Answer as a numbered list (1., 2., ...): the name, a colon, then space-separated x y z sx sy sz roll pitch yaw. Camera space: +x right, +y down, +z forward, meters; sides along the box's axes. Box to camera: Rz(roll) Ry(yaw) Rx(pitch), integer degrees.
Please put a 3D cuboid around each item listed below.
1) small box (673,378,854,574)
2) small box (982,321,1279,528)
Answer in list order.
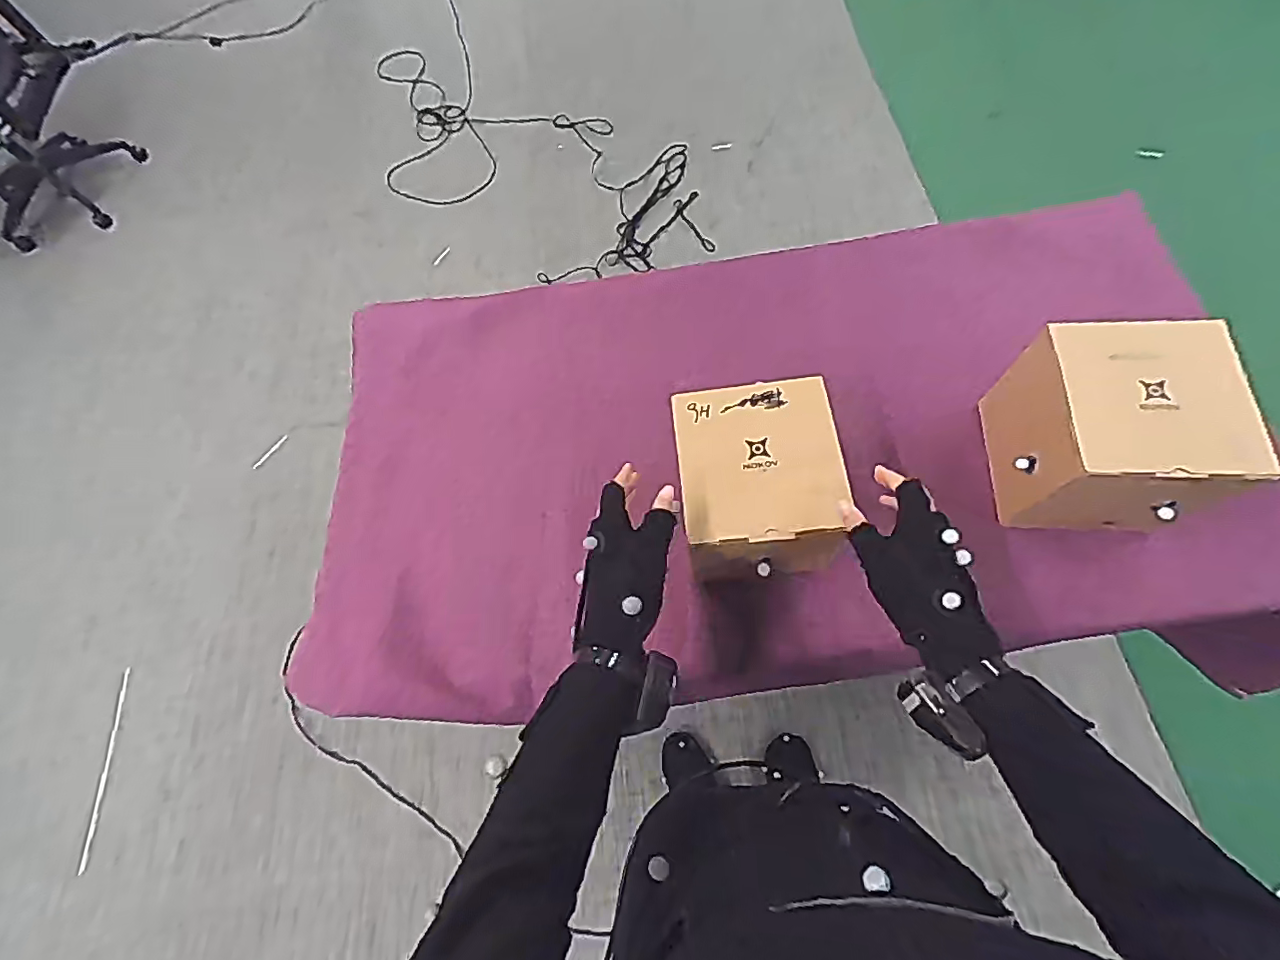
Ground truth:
1. small box: 0.132 0.008 0.629 0.168 0.176 0.179 -6 68 5
2. small box: 0.512 -0.052 0.600 0.168 0.176 0.179 2 68 8
